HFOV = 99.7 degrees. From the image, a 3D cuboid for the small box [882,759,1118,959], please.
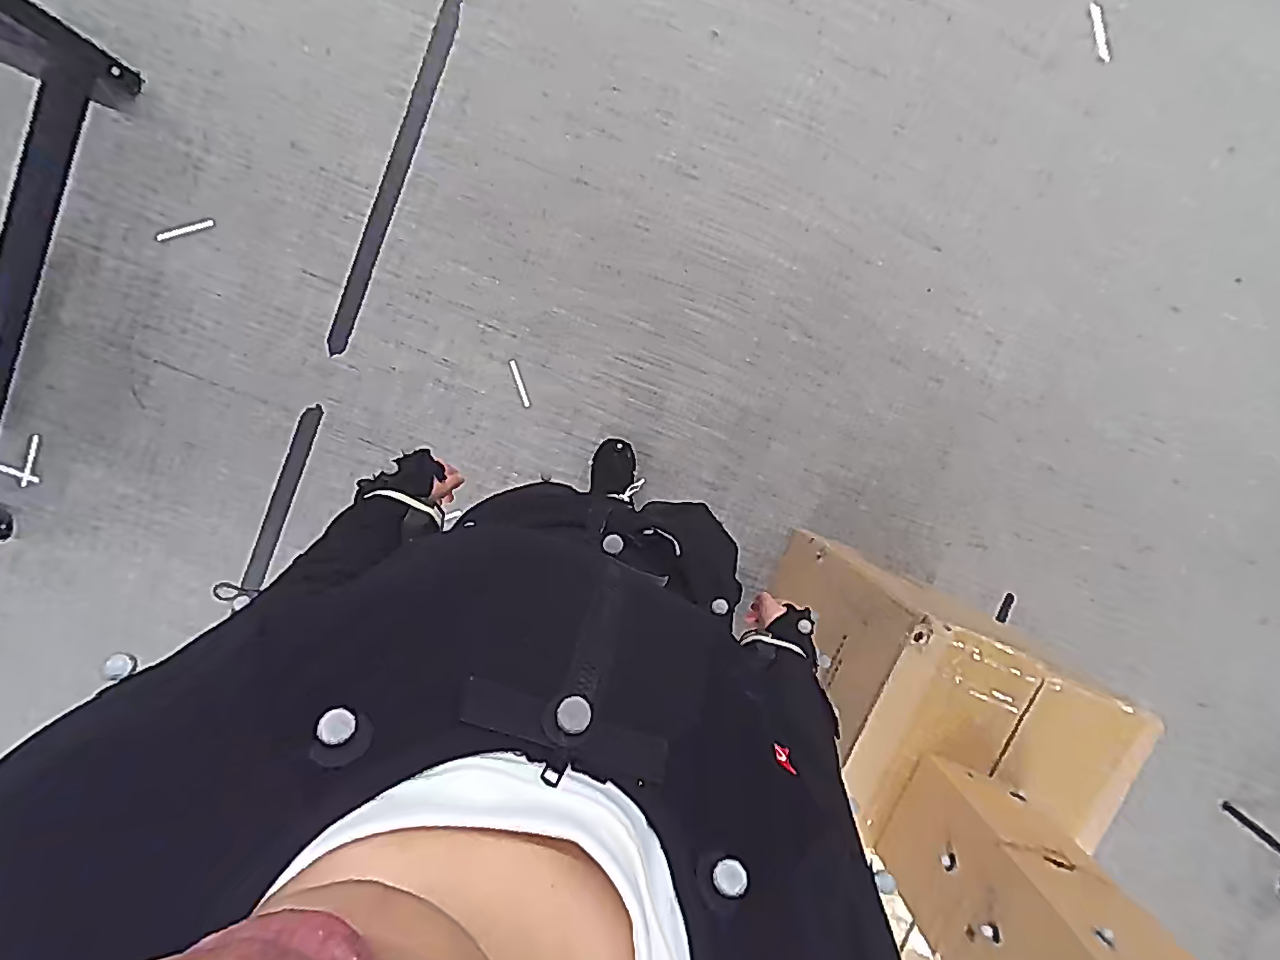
[{"bbox_3d":[0.458,0.517,0.722,0.168,0.176,0.179,23,96,-3],"label":"small box"}]
